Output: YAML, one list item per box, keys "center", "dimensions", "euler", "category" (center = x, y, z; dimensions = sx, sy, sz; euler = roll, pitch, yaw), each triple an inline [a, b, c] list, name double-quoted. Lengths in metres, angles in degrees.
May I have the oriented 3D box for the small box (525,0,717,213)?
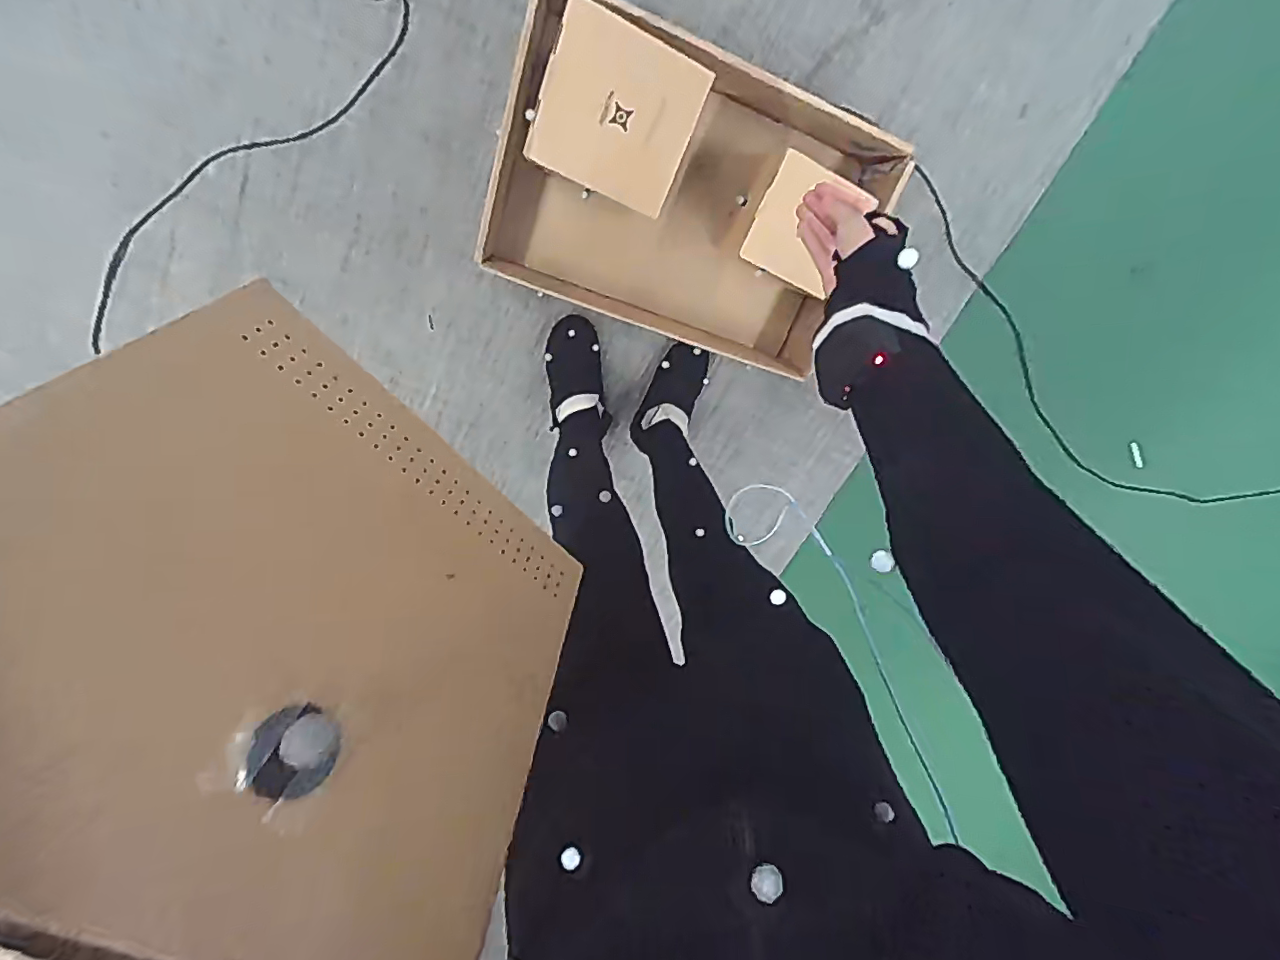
- center: [-0.032, -0.461, 0.687]
  dimensions: [0.179, 0.176, 0.168]
  euler: [19, 114, -17]
  category: "small box"

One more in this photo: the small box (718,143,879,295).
- center: [0.255, -0.438, 0.922]
  dimensions: [0.179, 0.176, 0.168]
  euler: [21, 112, -16]
  category: "small box"
